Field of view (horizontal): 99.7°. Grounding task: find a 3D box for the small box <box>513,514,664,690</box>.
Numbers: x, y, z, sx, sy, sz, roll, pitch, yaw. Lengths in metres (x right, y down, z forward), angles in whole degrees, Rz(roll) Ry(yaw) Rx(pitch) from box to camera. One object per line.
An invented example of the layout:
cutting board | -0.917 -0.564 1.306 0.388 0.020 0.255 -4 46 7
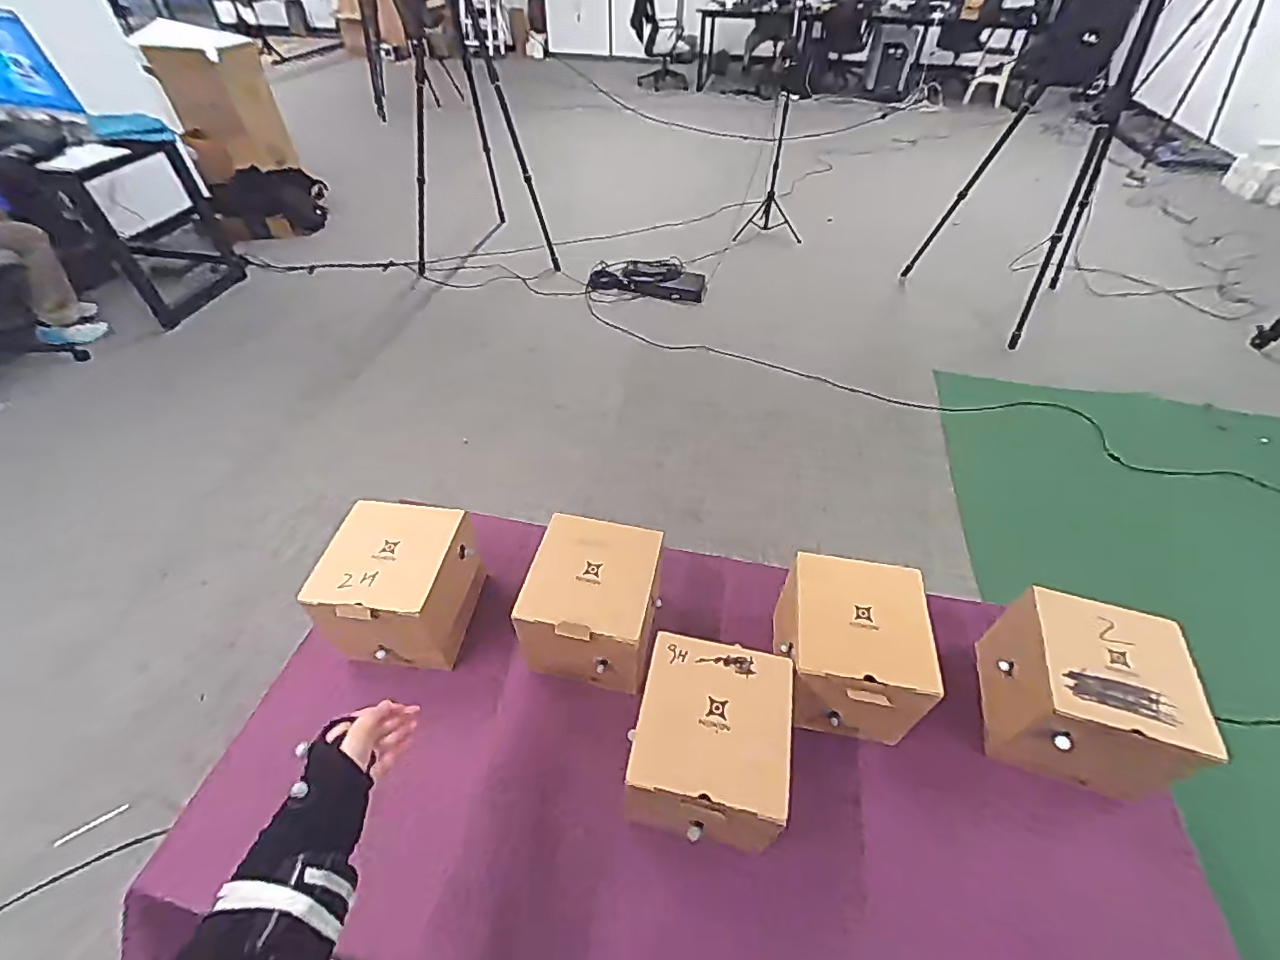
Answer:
small box | -0.063 0.178 0.780 0.168 0.176 0.179 10 47 7

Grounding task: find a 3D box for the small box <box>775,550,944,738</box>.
small box | 0.281 0.223 0.738 0.168 0.176 0.179 7 48 7

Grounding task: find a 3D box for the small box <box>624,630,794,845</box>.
small box | 0.083 0.313 0.651 0.168 0.176 0.179 10 48 8

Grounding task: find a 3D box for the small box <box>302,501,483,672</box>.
small box | -0.343 0.156 0.797 0.168 0.176 0.179 5 47 5
